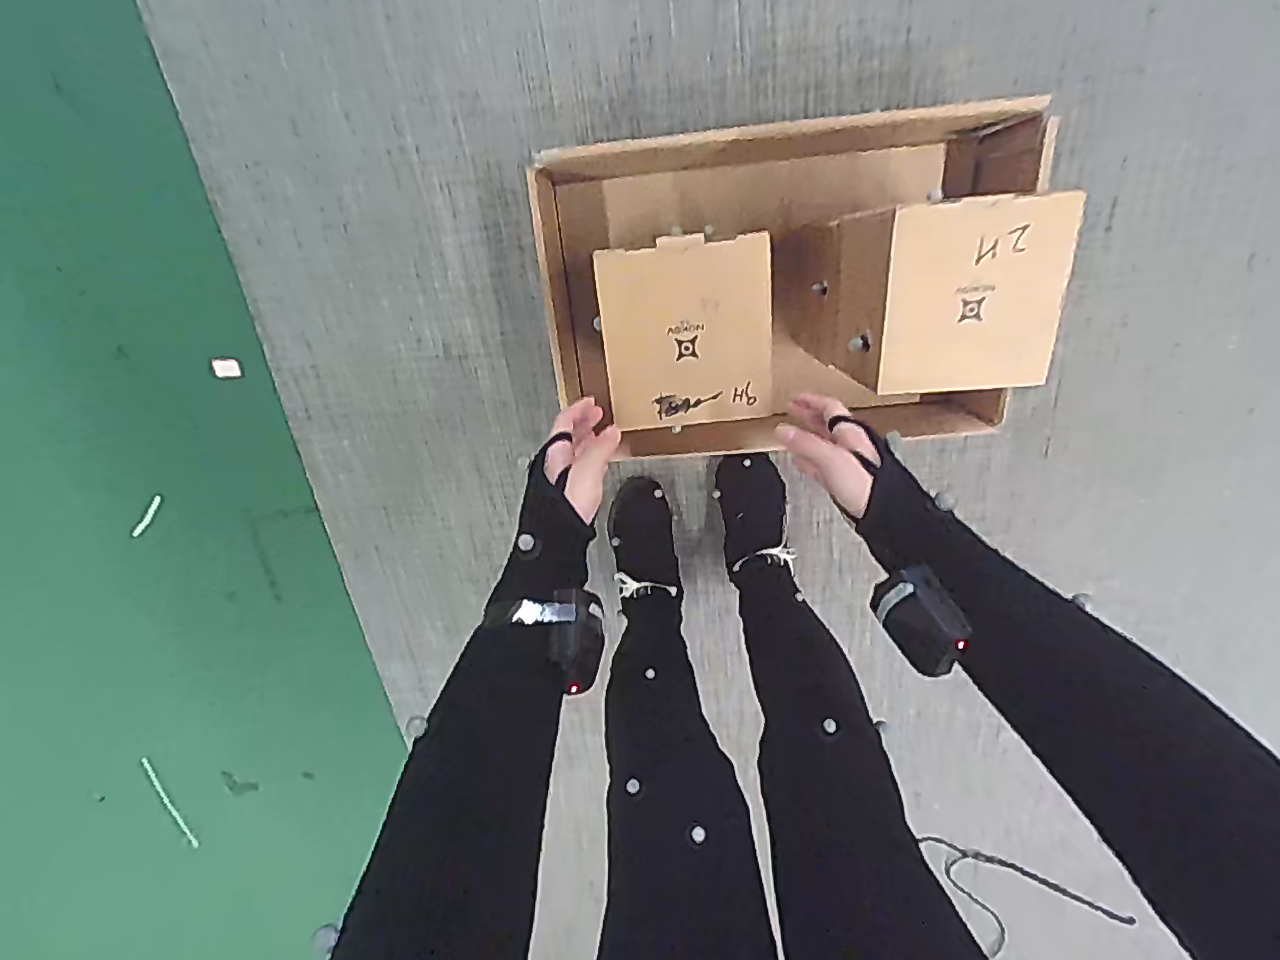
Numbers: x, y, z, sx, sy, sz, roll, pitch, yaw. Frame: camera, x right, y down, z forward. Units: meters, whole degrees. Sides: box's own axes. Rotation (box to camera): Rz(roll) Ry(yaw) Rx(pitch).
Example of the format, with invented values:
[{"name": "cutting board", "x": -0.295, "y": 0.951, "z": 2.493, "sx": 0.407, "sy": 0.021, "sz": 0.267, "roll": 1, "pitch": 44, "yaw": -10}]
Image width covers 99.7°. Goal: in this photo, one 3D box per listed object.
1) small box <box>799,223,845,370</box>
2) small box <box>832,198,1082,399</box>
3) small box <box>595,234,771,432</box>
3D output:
[{"name": "small box", "x": 0.319, "y": -0.257, "z": 0.737, "sx": 0.168, "sy": 0.176, "sz": 0.179, "roll": -3, "pitch": 112, "yaw": 4}, {"name": "small box", "x": 0.315, "y": -0.196, "z": 0.583, "sx": 0.168, "sy": 0.176, "sz": 0.179, "roll": -3, "pitch": 112, "yaw": 4}, {"name": "small box", "x": 0.046, "y": -0.165, "z": 0.600, "sx": 0.168, "sy": 0.176, "sz": 0.179, "roll": -5, "pitch": 112, "yaw": 4}]
